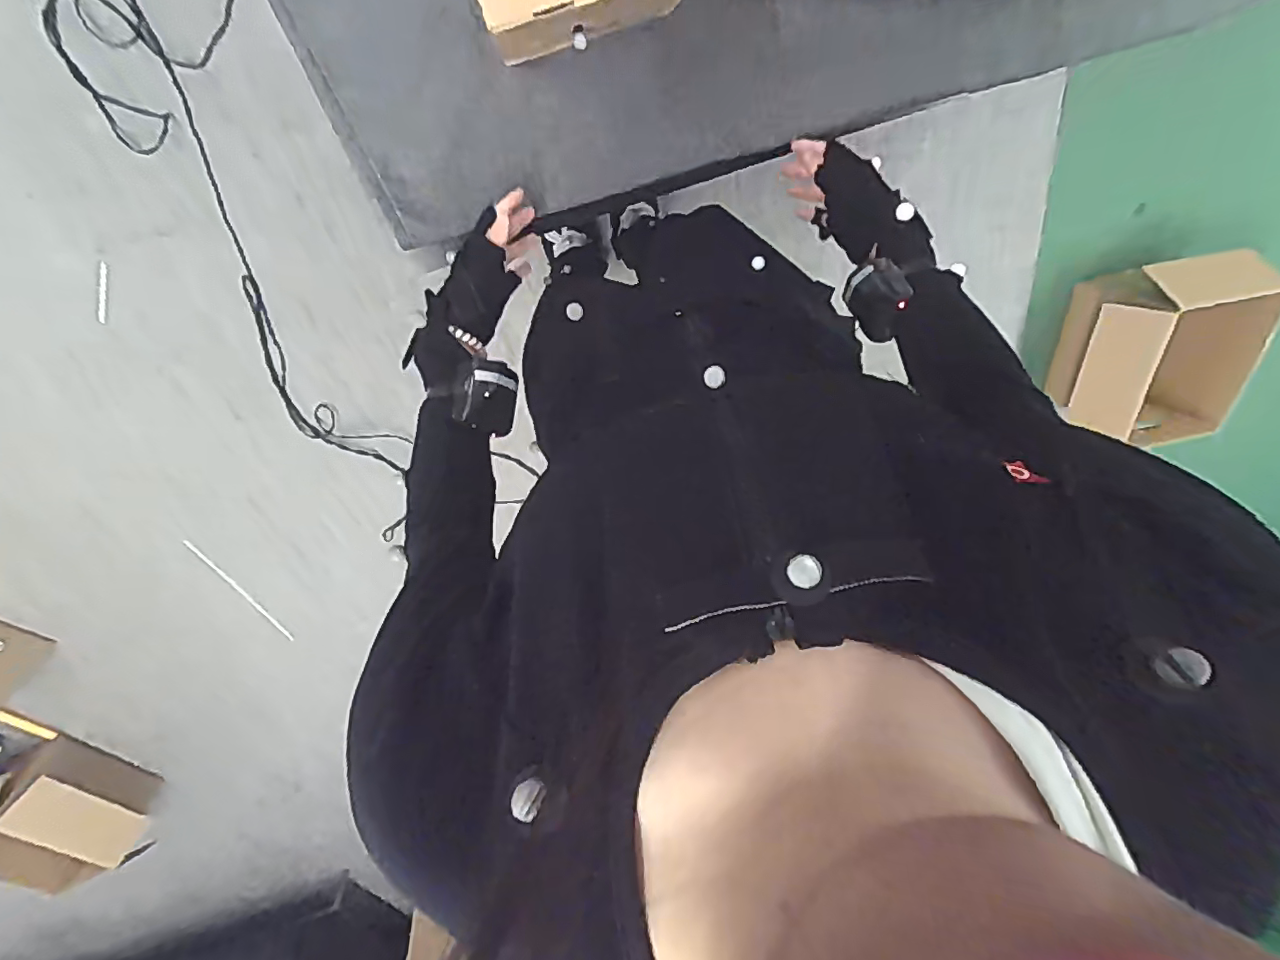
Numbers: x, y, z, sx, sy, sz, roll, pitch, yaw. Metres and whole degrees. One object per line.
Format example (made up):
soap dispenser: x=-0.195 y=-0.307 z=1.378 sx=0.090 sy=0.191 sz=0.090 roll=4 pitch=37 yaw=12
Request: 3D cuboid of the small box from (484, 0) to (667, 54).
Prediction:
small box: x=-0.057 y=-0.442 z=0.384 sx=0.168 sy=0.176 sz=0.179 roll=-19 pitch=123 yaw=1
